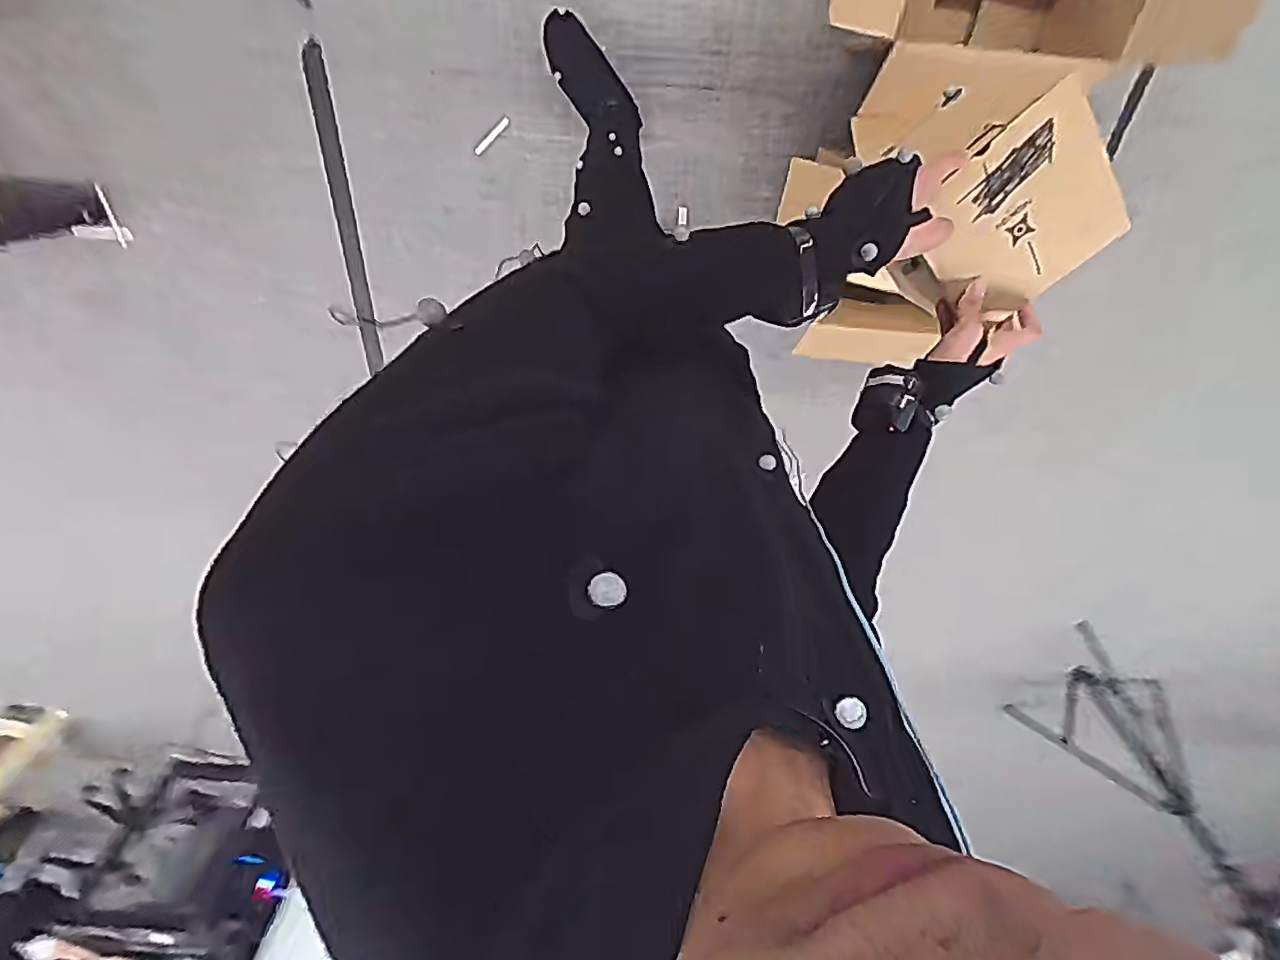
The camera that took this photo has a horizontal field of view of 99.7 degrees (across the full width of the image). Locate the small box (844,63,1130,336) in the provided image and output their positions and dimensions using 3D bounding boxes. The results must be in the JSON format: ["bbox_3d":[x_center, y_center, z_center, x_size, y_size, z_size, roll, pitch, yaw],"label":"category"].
[{"bbox_3d":[0.351,-0.294,0.577,0.168,0.176,0.179,-39,120,21],"label":"small box"}]
